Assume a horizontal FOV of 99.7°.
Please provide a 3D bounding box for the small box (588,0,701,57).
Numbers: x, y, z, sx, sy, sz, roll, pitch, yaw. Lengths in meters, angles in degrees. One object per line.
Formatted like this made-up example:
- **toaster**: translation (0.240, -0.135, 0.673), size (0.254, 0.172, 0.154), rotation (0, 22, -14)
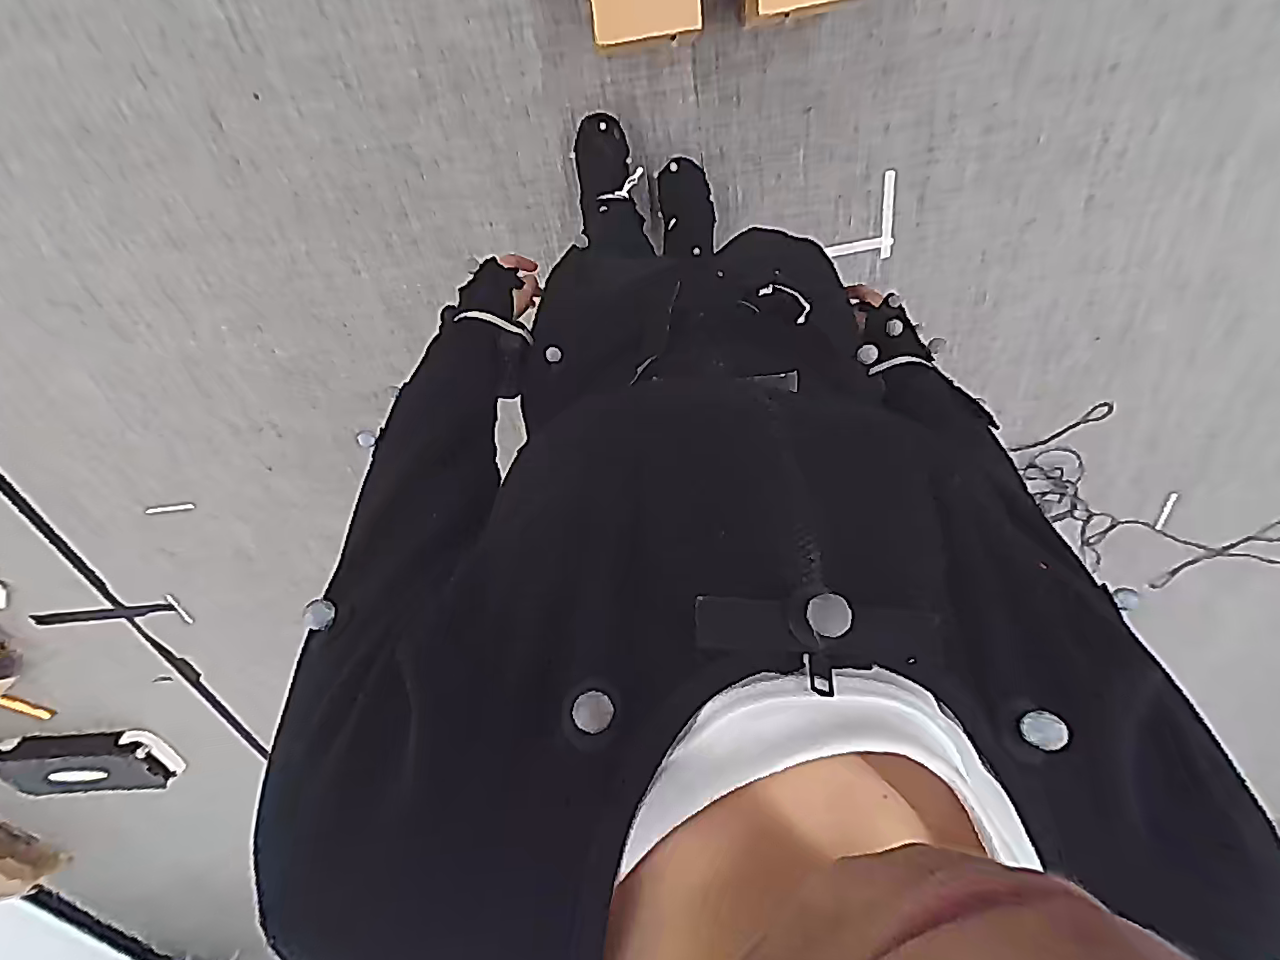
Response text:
- **small box**: translation (0.001, -0.820, 0.893), size (0.179, 0.176, 0.168), rotation (-7, 123, 4)
